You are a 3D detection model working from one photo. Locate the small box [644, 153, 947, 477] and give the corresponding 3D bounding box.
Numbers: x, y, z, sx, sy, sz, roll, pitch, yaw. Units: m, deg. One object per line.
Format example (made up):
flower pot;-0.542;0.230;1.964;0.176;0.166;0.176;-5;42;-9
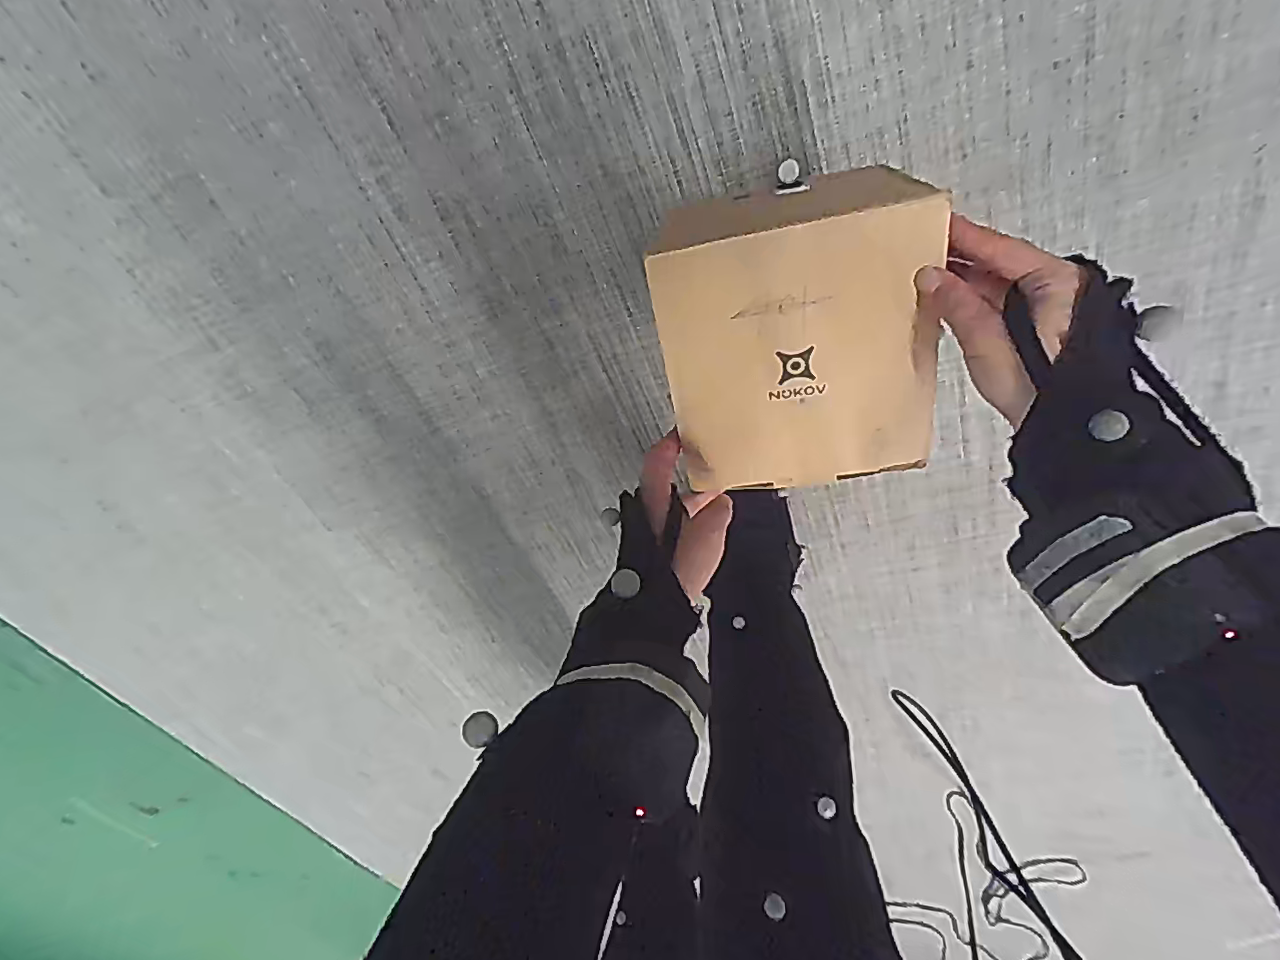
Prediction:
small box;0.106;-0.126;0.407;0.168;0.176;0.179;-7;123;12
